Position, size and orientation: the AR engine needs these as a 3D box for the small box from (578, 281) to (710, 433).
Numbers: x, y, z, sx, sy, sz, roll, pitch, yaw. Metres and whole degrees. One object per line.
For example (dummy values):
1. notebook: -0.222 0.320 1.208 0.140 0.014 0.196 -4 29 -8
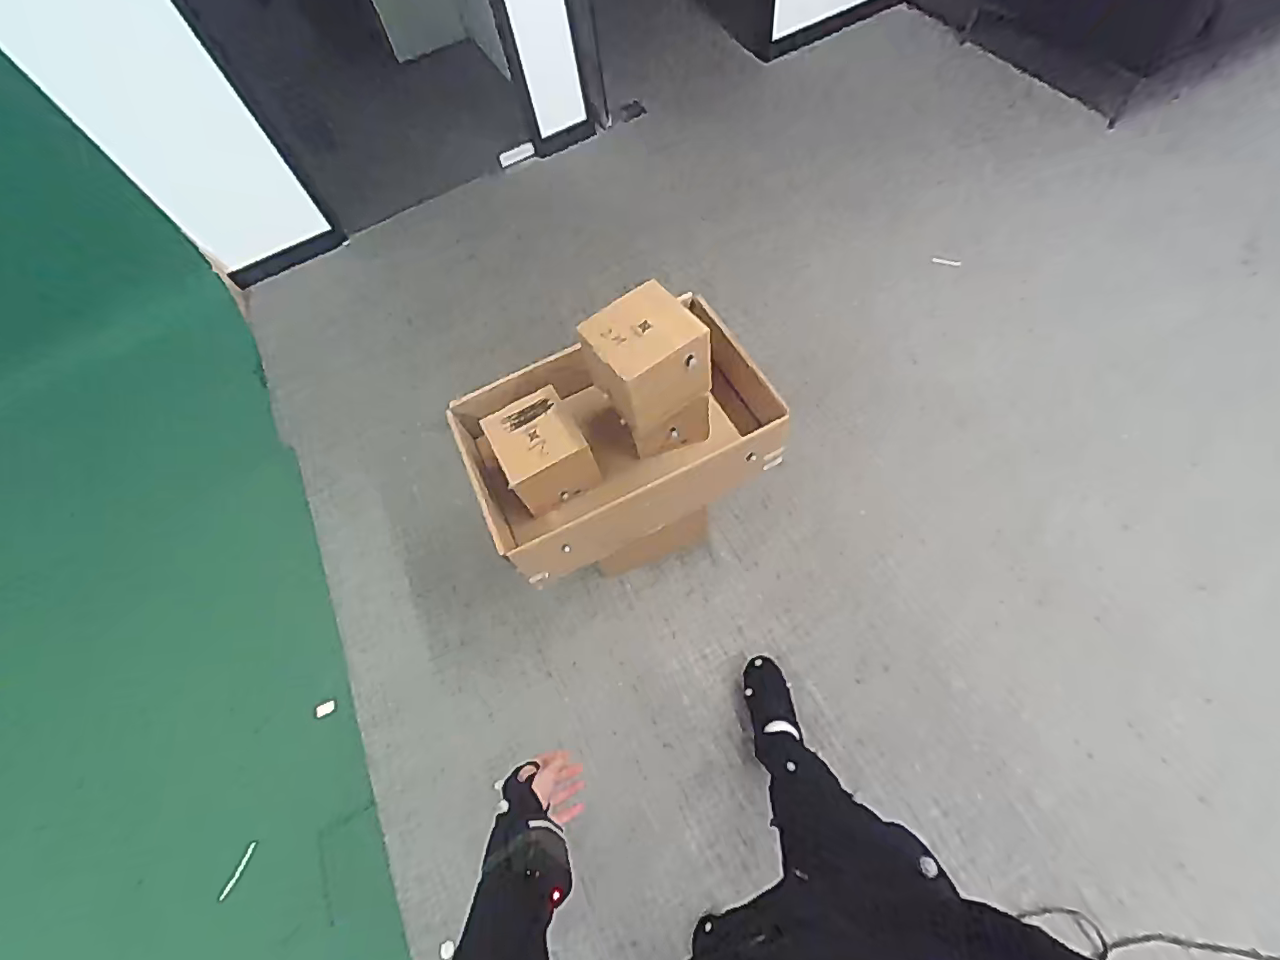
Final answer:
1. small box: 0.012 -0.221 0.995 0.179 0.176 0.168 -34 63 -9

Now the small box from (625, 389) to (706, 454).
1. small box: 0.040 -0.173 1.153 0.168 0.176 0.179 -17 63 -2
